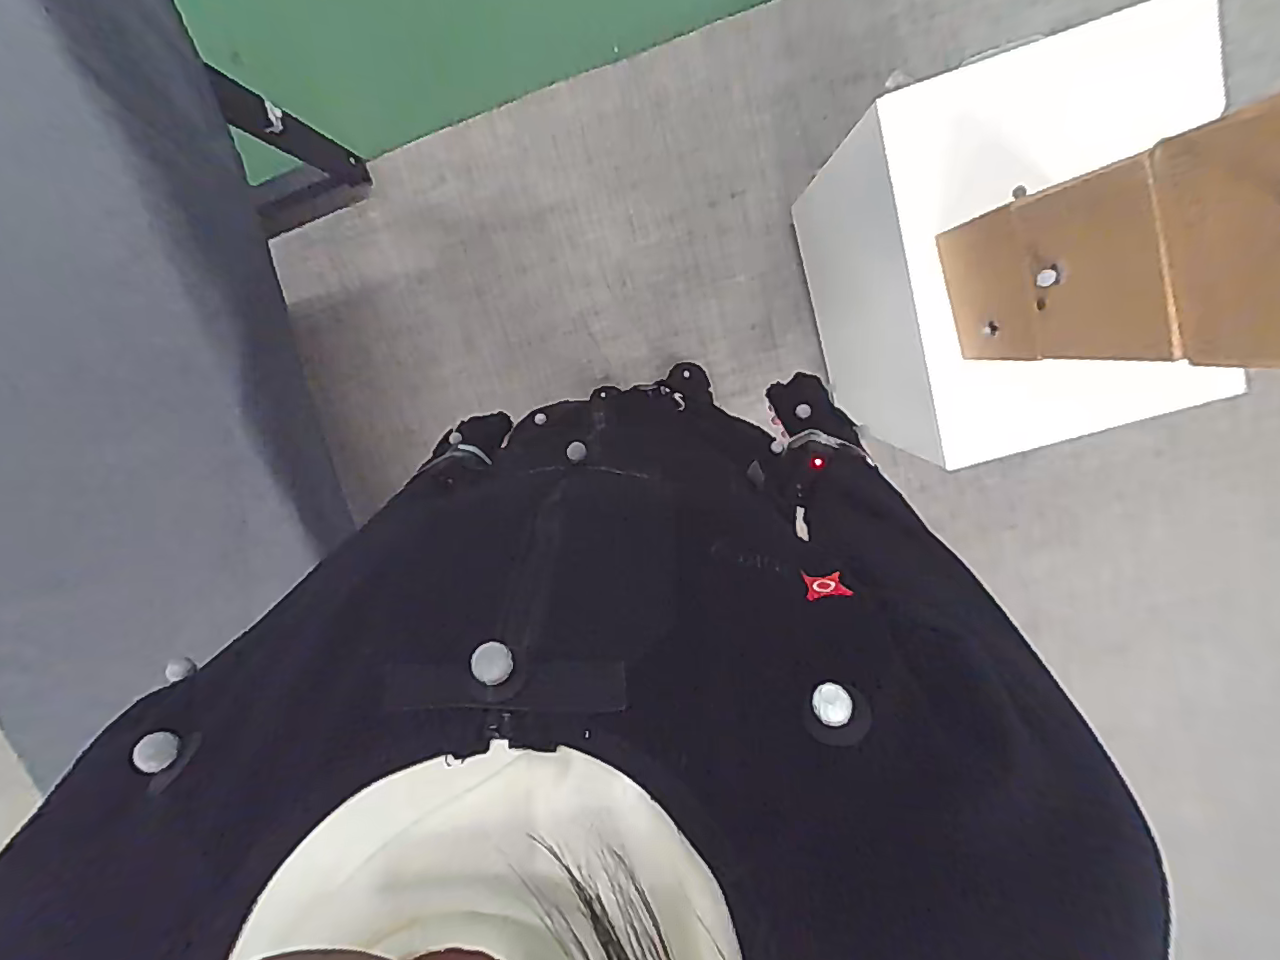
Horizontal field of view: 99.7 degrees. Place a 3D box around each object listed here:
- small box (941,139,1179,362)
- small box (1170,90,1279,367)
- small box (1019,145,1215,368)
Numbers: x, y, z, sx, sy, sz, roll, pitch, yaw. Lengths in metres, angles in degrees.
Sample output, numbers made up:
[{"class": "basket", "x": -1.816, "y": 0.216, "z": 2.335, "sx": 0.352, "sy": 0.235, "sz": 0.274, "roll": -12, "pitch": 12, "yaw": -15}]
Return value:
[{"class": "small box", "x": 0.490, "y": -0.250, "z": 0.635, "sx": 0.168, "sy": 0.176, "sz": 0.179, "roll": -19, "pitch": 100, "yaw": 8}, {"class": "small box", "x": 0.473, "y": -0.173, "z": 0.317, "sx": 0.168, "sy": 0.176, "sz": 0.179, "roll": -20, "pitch": 101, "yaw": 9}, {"class": "small box", "x": 0.487, "y": -0.210, "z": 0.476, "sx": 0.179, "sy": 0.176, "sz": 0.168, "roll": -21, "pitch": 101, "yaw": 7}]
